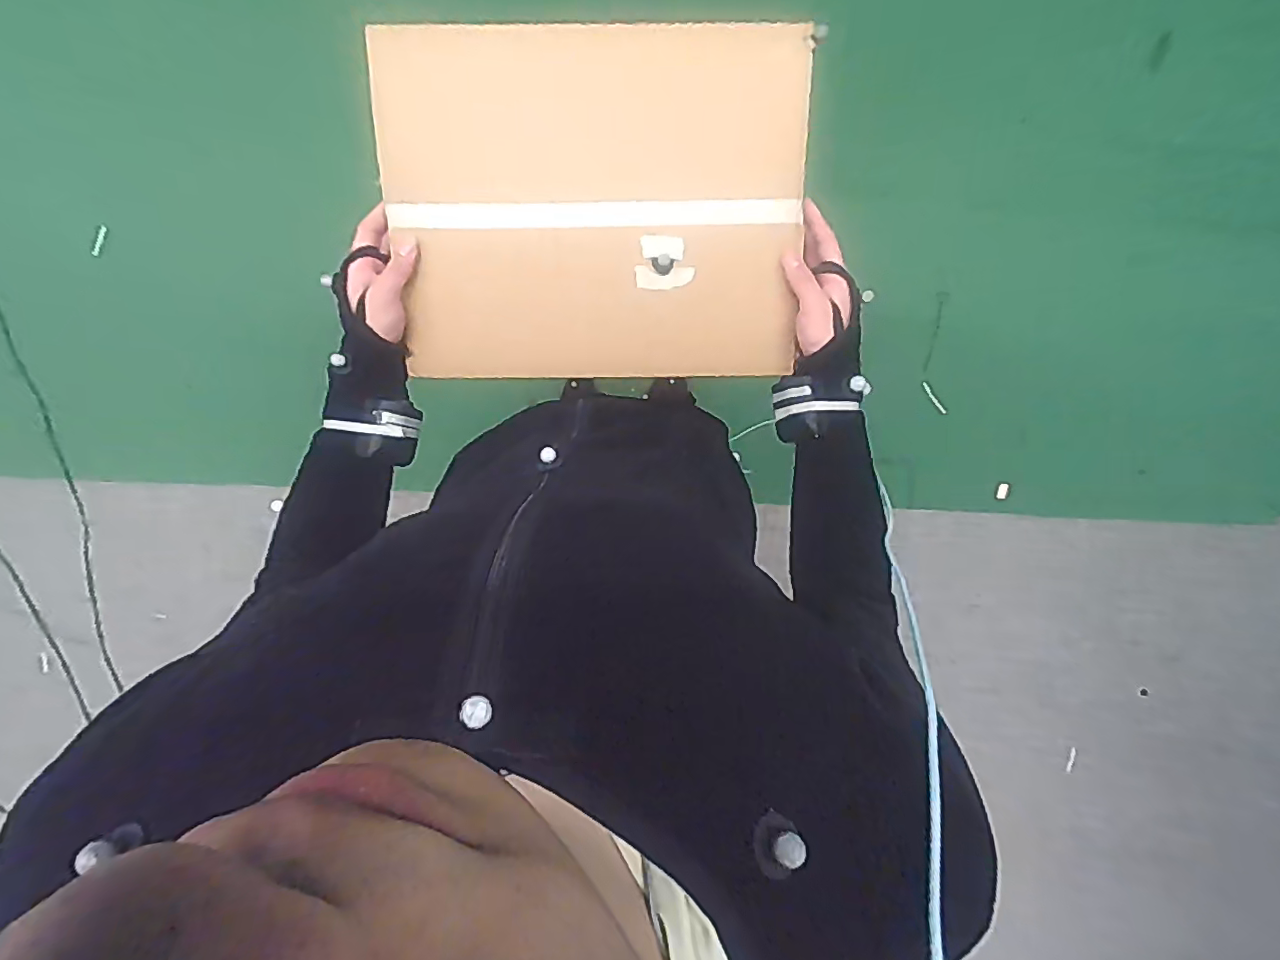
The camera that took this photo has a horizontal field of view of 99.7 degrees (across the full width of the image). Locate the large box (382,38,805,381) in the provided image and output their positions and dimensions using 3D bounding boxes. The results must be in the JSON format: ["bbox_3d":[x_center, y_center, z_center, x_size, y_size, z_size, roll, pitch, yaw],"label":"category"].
[{"bbox_3d":[-0.044,-0.298,0.685,0.408,0.320,0.320,-1,106,-1],"label":"large box"}]
